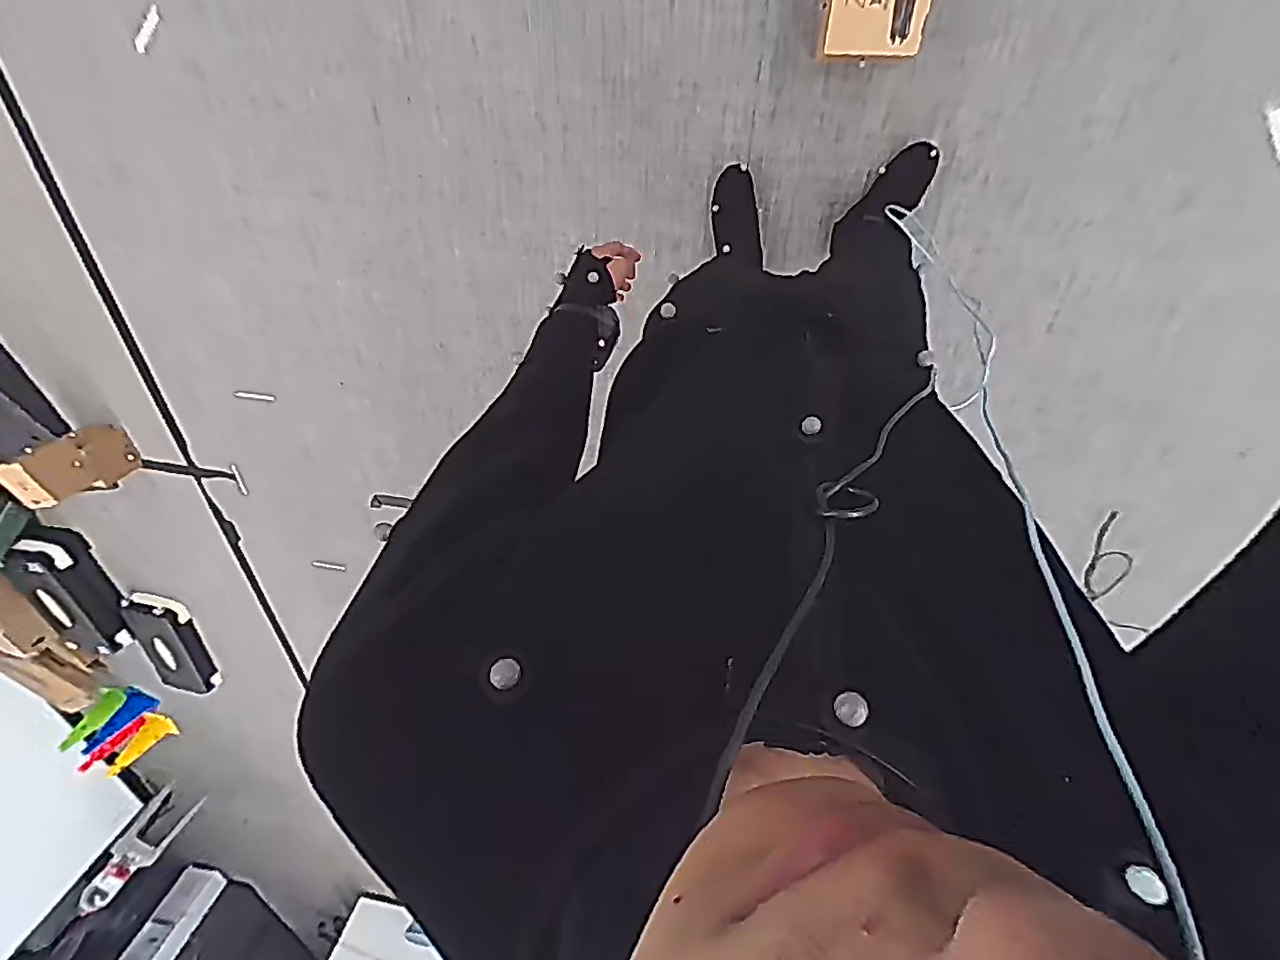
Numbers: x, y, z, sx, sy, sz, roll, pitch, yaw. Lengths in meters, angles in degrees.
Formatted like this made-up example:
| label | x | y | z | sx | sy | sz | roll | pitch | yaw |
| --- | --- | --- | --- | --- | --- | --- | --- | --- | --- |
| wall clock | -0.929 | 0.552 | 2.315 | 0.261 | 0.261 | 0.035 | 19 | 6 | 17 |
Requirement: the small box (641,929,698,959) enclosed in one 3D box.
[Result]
| label | x | y | z | sx | sy | sz | roll | pitch | yaw |
| --- | --- | --- | --- | --- | --- | --- | --- | --- | --- |
| small box | 0.083 | 1.479 | 1.610 | 0.168 | 0.176 | 0.179 | 6 | 124 | 7 |

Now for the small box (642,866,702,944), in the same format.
| label | x | y | z | sx | sy | sz | roll | pitch | yaw |
| --- | --- | --- | --- | --- | --- | --- | --- | --- | --- |
| small box | 0.106 | 1.381 | 1.740 | 0.168 | 0.176 | 0.179 | 10 | 124 | 5 |
